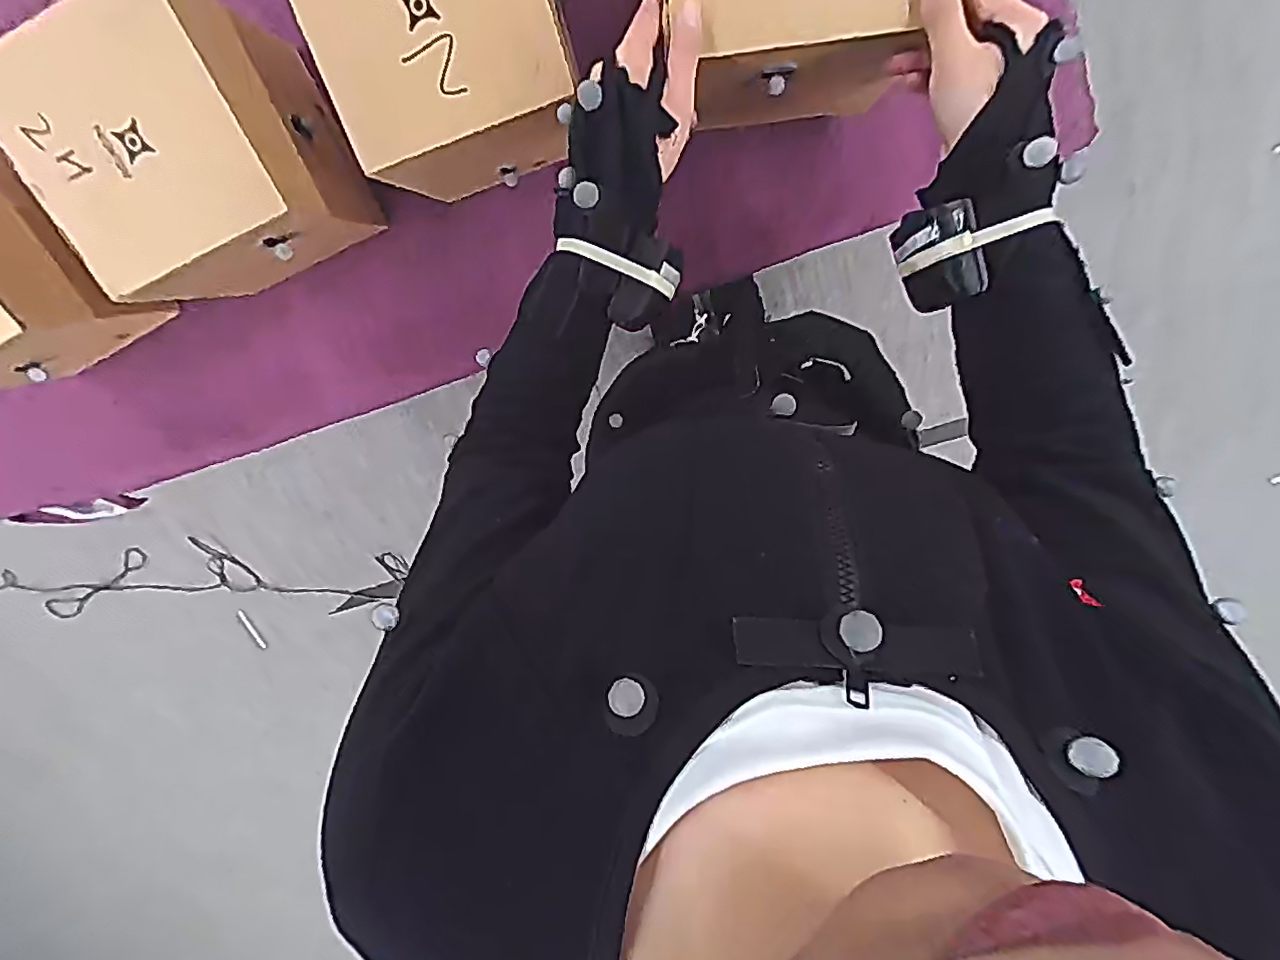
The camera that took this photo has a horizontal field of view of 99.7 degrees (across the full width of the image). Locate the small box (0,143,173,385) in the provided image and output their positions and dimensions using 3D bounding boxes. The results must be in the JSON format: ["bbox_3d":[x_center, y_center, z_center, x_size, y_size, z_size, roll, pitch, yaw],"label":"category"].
[{"bbox_3d":[-0.609,-0.196,0.503,0.168,0.176,0.179,-24,109,10],"label":"small box"}]

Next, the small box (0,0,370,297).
[{"bbox_3d":[-0.367,-0.273,0.463,0.179,0.176,0.168,-21,109,9],"label":"small box"}]
